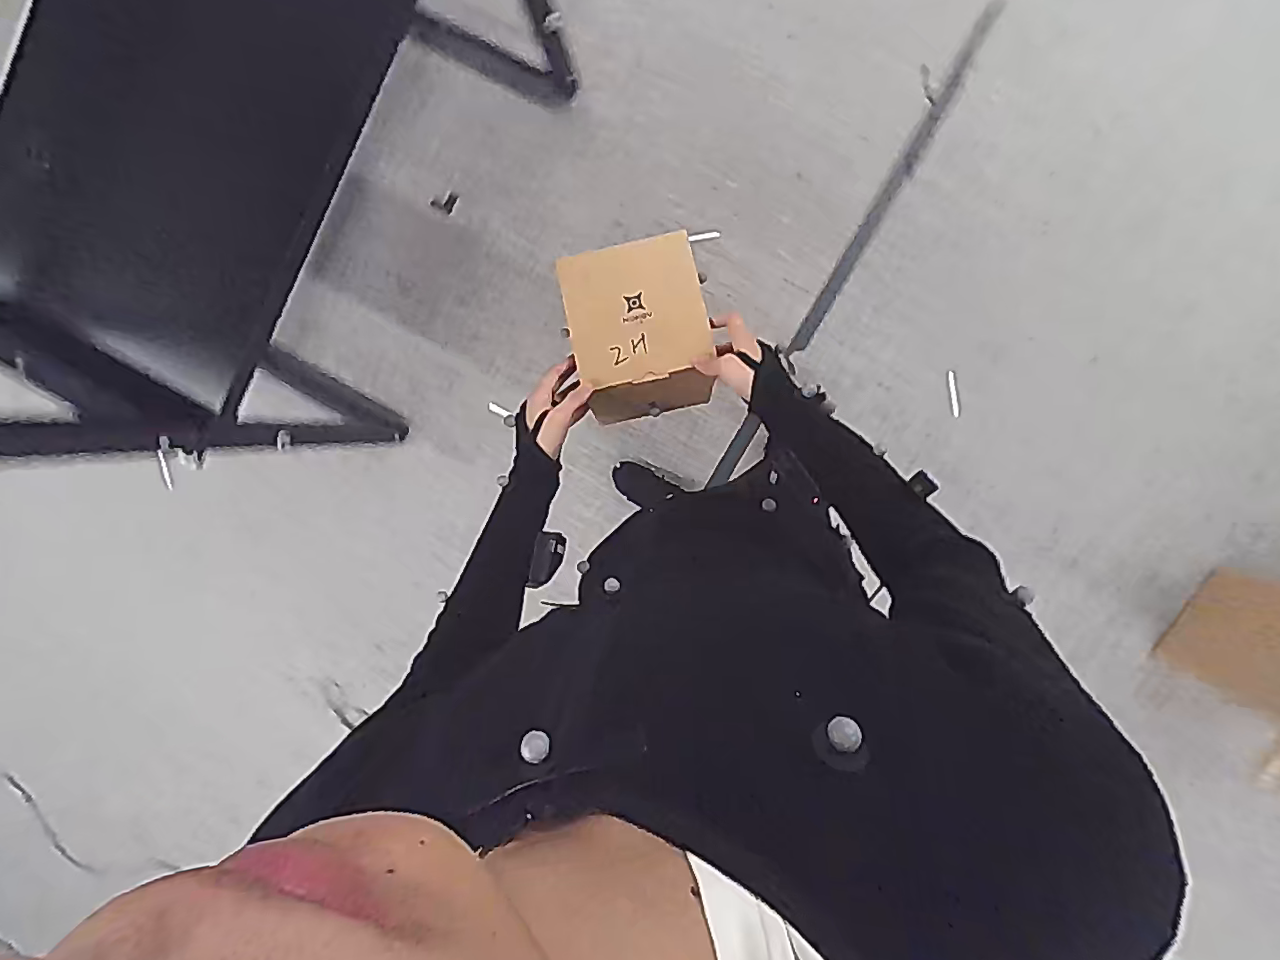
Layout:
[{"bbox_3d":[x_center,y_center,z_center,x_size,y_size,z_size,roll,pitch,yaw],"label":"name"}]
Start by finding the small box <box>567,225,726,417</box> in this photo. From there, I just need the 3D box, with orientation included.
[{"bbox_3d":[0.008,-0.197,0.714,0.168,0.176,0.179,-11,83,2],"label":"small box"}]
